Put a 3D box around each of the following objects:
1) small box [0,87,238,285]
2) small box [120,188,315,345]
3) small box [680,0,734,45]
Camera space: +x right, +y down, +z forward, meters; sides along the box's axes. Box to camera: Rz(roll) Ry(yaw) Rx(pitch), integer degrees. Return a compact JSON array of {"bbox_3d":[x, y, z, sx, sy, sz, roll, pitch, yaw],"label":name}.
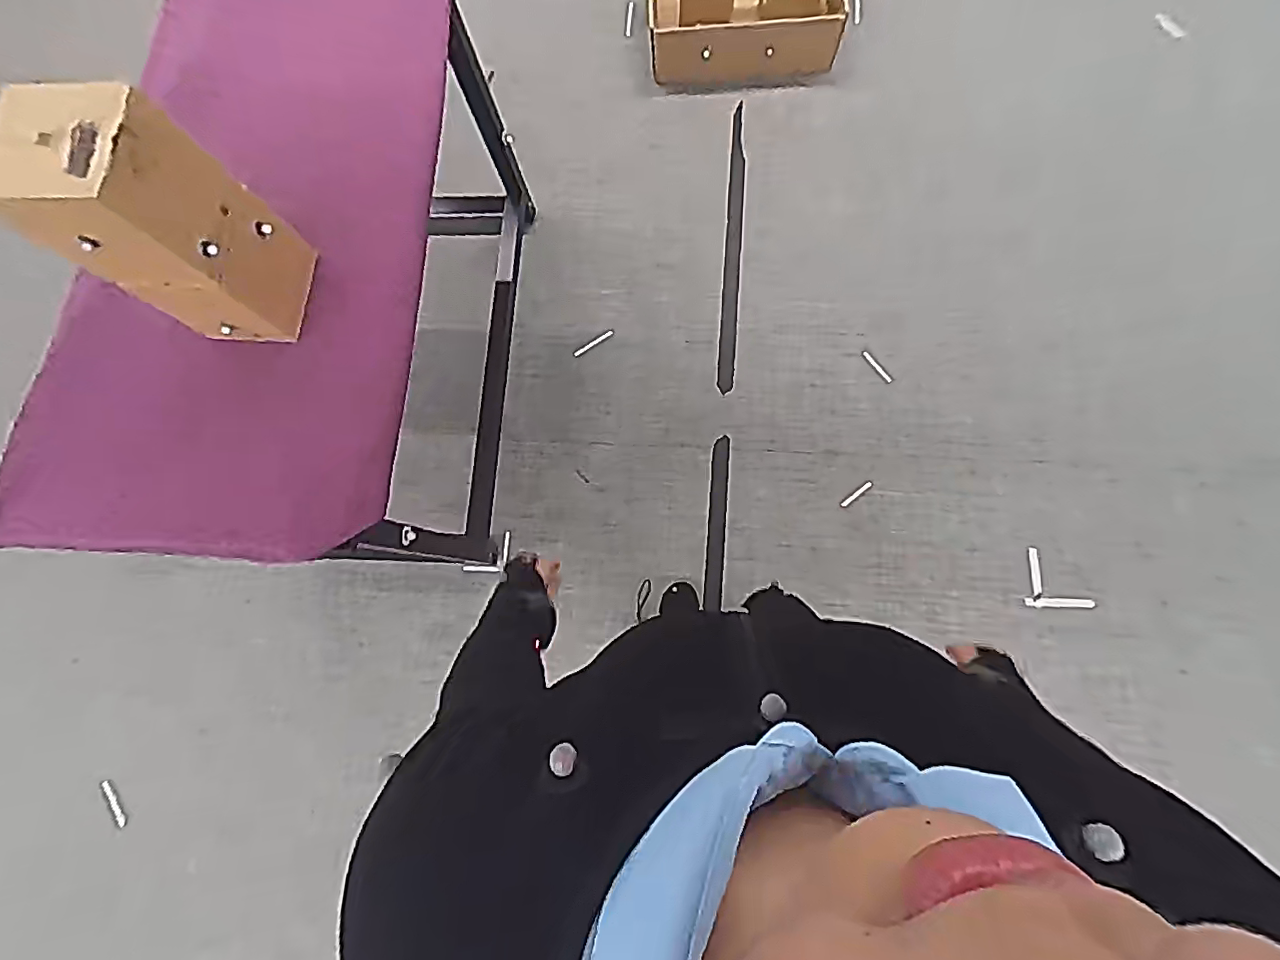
[{"bbox_3d":[-0.684,-0.376,0.715,0.179,0.176,0.168,2,77,5],"label":"small box"},{"bbox_3d":[-0.664,-0.340,0.874,0.168,0.176,0.179,3,78,6],"label":"small box"},{"bbox_3d":[0.225,-1.592,1.781,0.168,0.176,0.179,9,78,5],"label":"small box"}]
